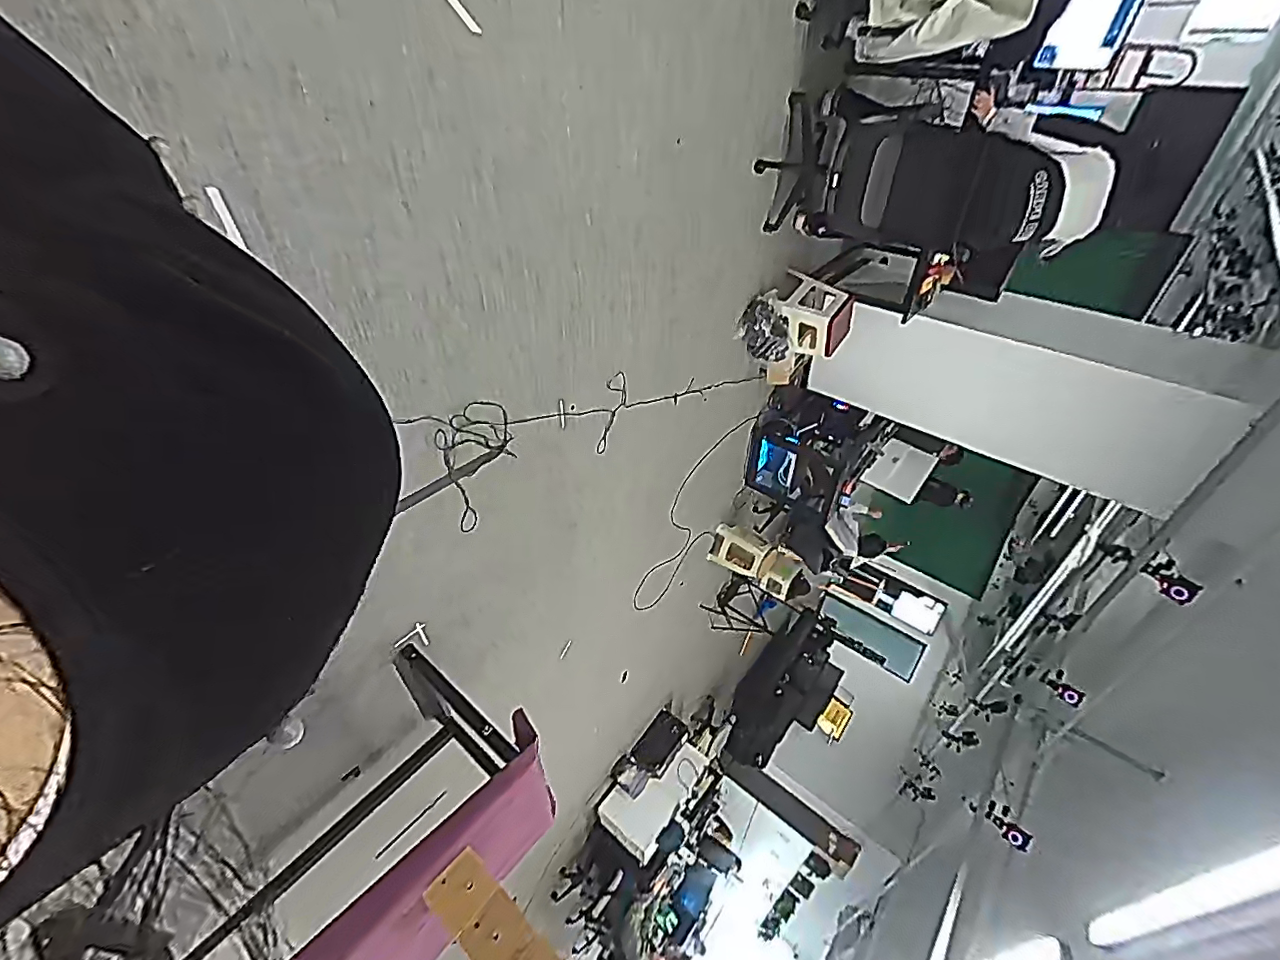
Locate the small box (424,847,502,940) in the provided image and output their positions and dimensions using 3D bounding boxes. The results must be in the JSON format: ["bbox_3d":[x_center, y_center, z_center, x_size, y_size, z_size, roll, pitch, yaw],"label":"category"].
[{"bbox_3d":[-0.539,1.281,1.668,0.168,0.176,0.179,-37,144,-37],"label":"small box"}]

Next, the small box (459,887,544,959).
[{"bbox_3d":[-0.410,1.353,1.596,0.168,0.176,0.179,-39,144,-35],"label":"small box"}]
